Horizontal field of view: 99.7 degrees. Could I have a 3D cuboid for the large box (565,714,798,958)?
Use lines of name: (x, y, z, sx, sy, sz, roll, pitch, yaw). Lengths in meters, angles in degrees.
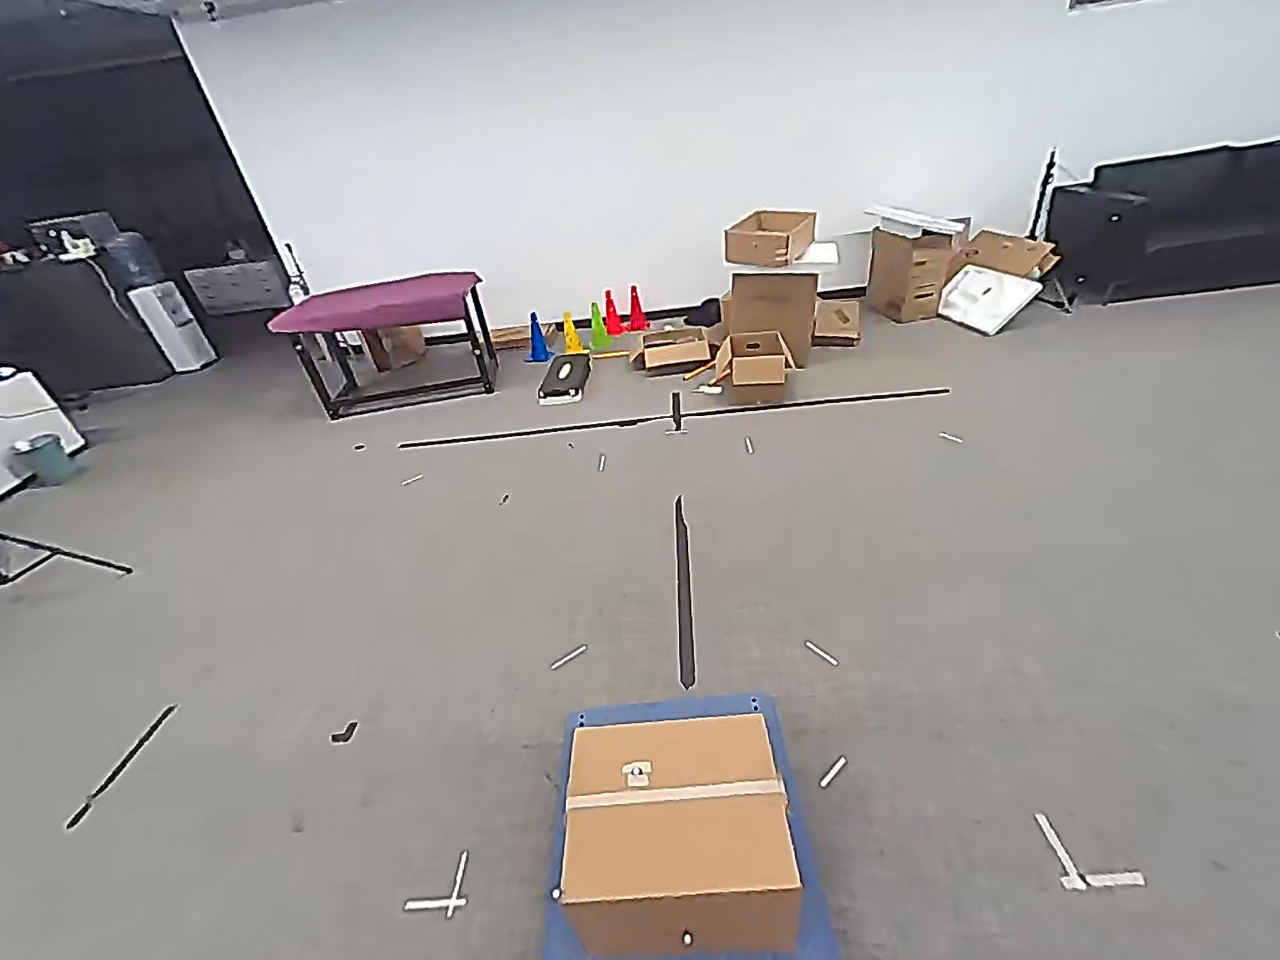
large box: (0.085, 0.732, 1.117, 0.408, 0.320, 0.320, -7, 33, 3)
